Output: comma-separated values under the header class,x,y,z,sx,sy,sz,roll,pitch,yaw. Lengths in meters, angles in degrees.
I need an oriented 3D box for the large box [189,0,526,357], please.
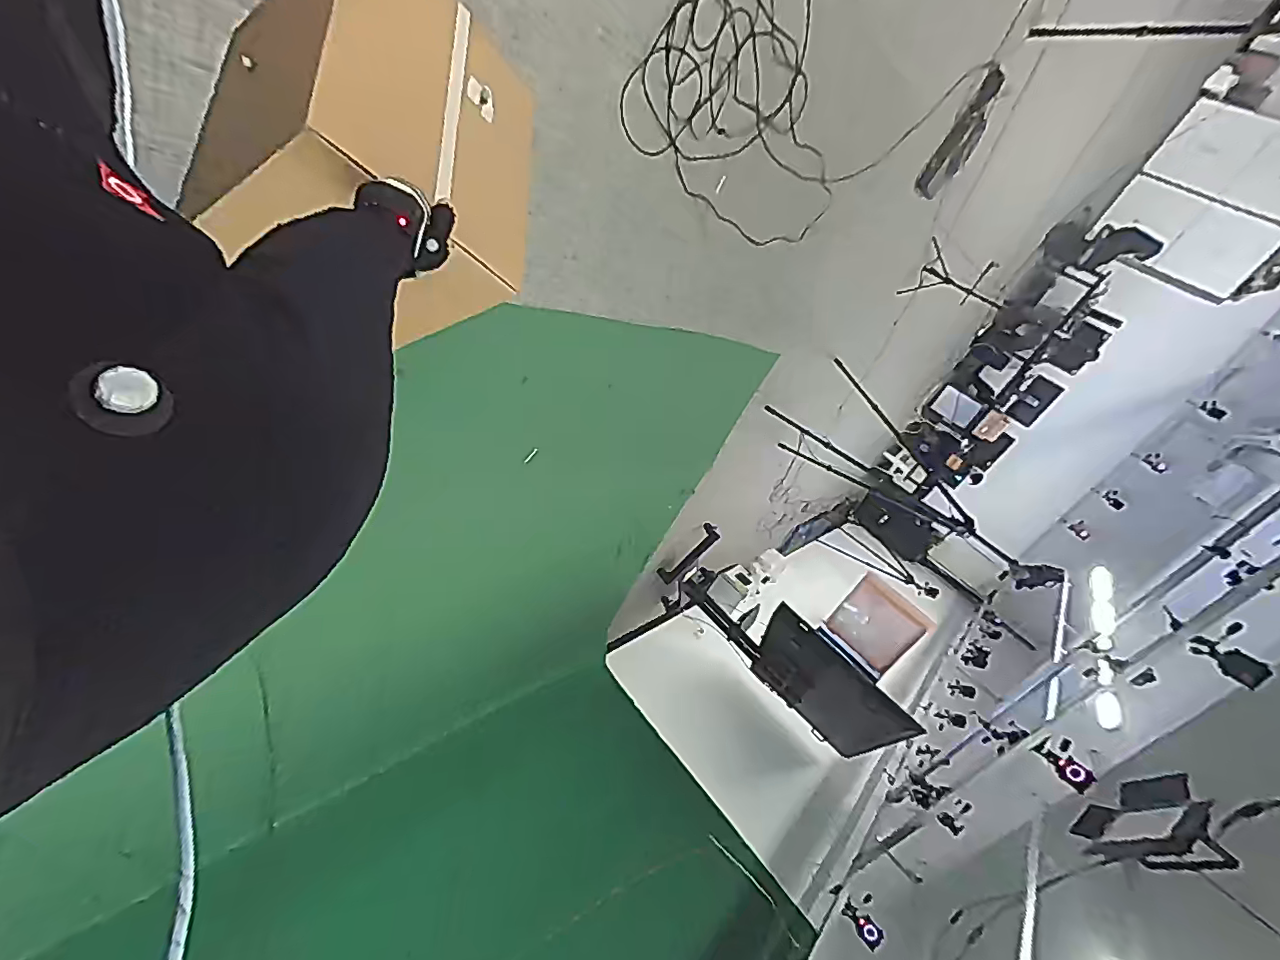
class,x,y,z,sx,sy,sz,roll,pitch,yaw
large box,-0.391,-0.460,0.806,0.320,0.408,0.320,-13,159,28
